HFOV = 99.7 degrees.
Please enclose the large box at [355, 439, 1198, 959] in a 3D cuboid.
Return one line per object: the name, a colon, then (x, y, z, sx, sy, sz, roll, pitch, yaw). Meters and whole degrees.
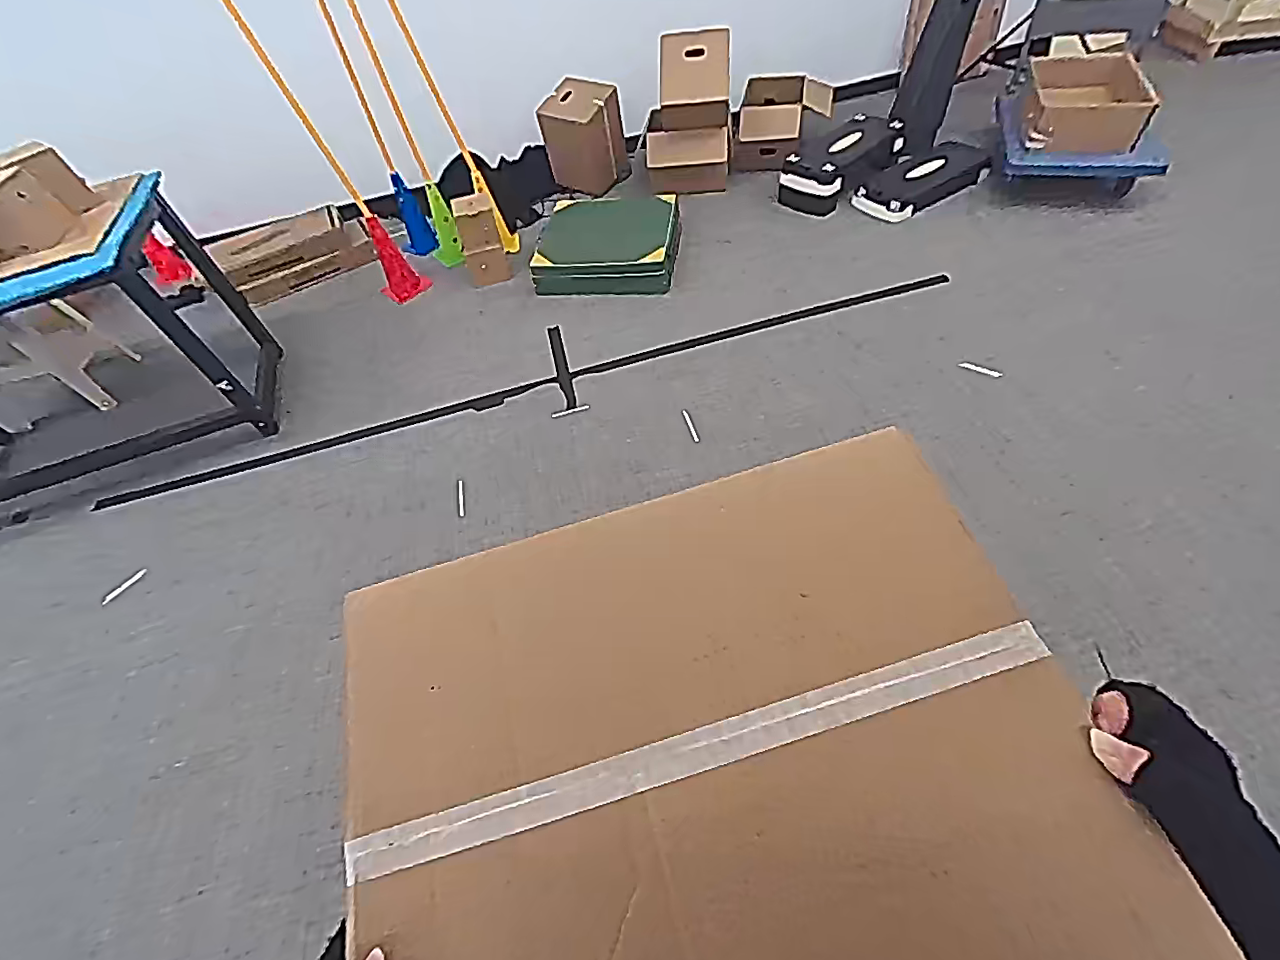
large box: (0.051, 0.224, 0.444, 0.408, 0.320, 0.320, -18, 61, -2)
